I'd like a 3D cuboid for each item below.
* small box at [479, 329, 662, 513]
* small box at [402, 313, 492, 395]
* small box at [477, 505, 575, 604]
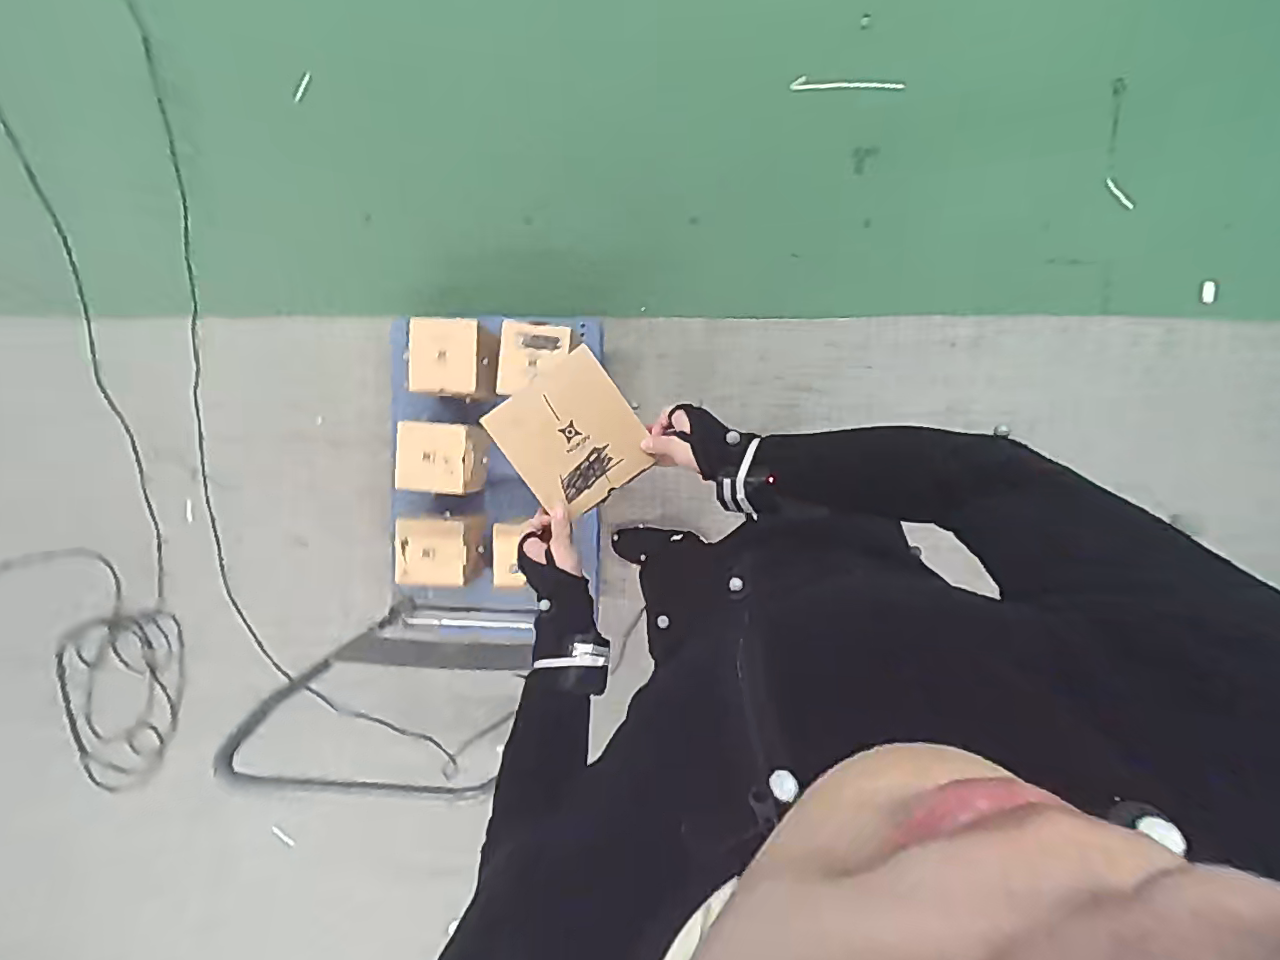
[{"bbox_3d":[-0.087,-0.083,0.746,0.168,0.176,0.179,-34,98,2],"label":"small box"},{"bbox_3d":[-0.479,-0.311,1.363,0.168,0.176,0.179,3,93,2],"label":"small box"},{"bbox_3d":[-0.283,0.184,1.387,0.168,0.176,0.179,31,95,-1],"label":"small box"}]
